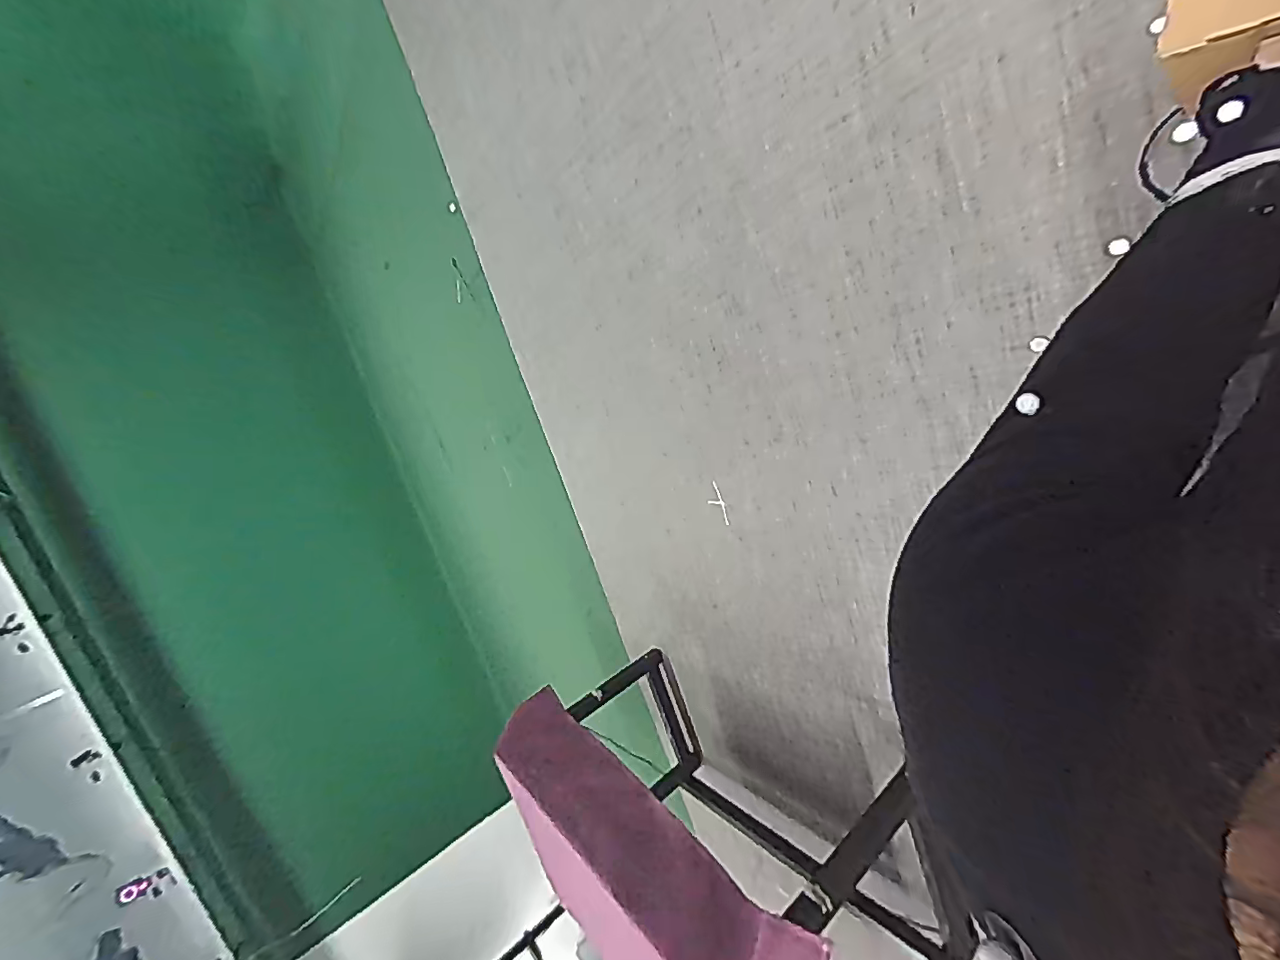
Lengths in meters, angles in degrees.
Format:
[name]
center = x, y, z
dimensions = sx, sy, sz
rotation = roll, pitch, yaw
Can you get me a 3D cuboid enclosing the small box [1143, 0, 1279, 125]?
[small box]
center = 0.569, -0.442, 0.457
dimensions = 0.168, 0.176, 0.179
rotation = 18, 109, 49
